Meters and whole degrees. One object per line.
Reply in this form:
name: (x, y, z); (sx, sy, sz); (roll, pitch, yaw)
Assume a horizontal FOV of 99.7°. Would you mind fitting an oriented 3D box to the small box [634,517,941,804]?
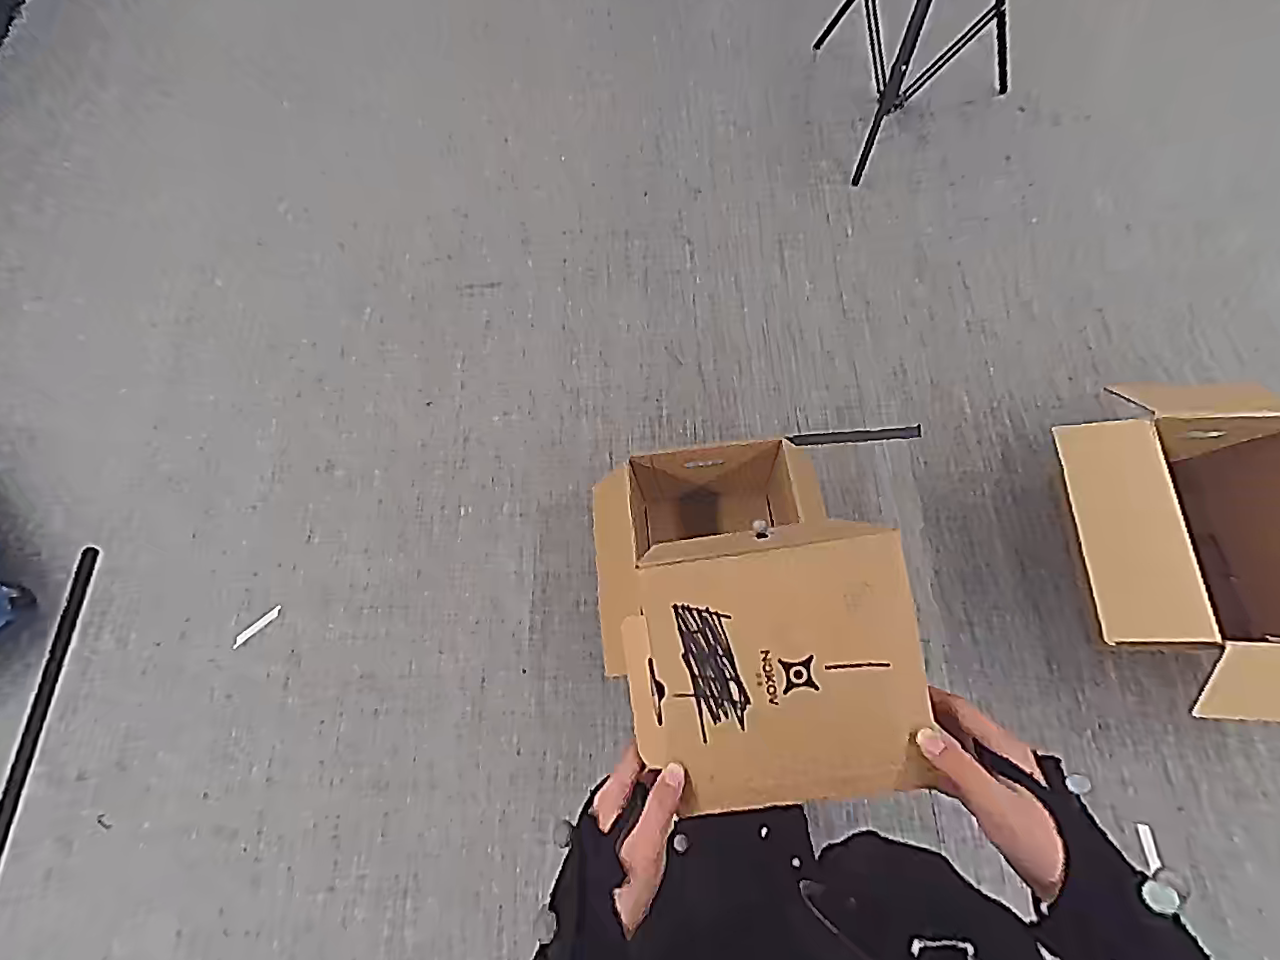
small box: (0.100, 0.123, 0.428); (0.179, 0.176, 0.168); (-9, 87, 5)
